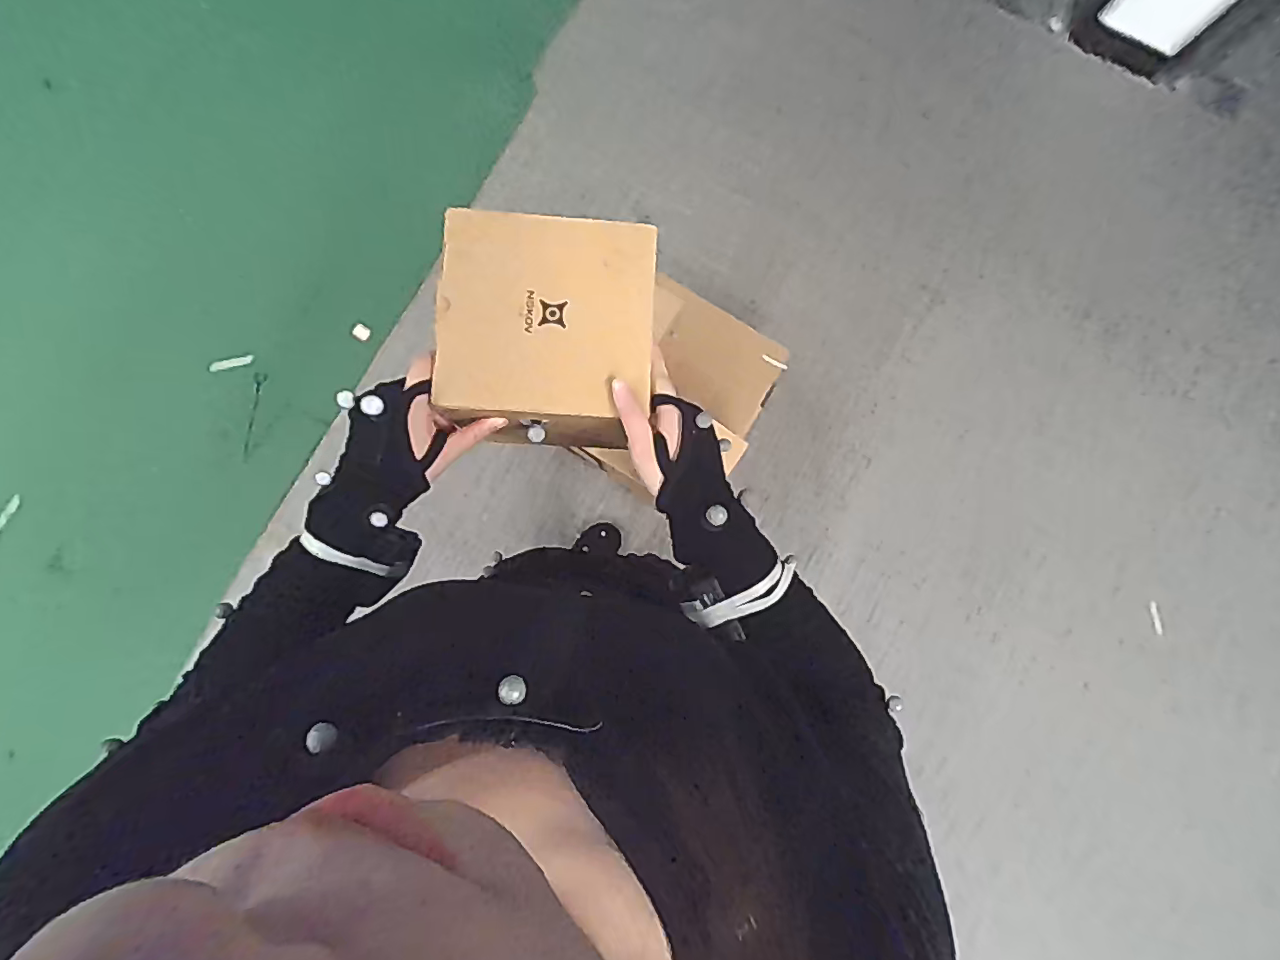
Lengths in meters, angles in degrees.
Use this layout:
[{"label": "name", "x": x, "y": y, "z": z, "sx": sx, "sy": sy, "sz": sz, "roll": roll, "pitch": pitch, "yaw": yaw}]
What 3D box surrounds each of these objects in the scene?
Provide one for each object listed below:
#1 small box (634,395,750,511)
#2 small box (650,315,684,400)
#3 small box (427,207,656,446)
[{"label": "small box", "x": 0.102, "y": -0.046, "z": 1.142, "sx": 0.168, "sy": 0.176, "sz": 0.179, "roll": 37, "pitch": 84, "yaw": 1}, {"label": "small box", "x": -0.029, "y": -0.257, "z": 1.160, "sx": 0.168, "sy": 0.176, "sz": 0.179, "roll": 36, "pitch": 84, "yaw": 3}, {"label": "small box", "x": -0.083, "y": -0.127, "z": 0.513, "sx": 0.179, "sy": 0.176, "sz": 0.168, "roll": 2, "pitch": 84, "yaw": -4}]
